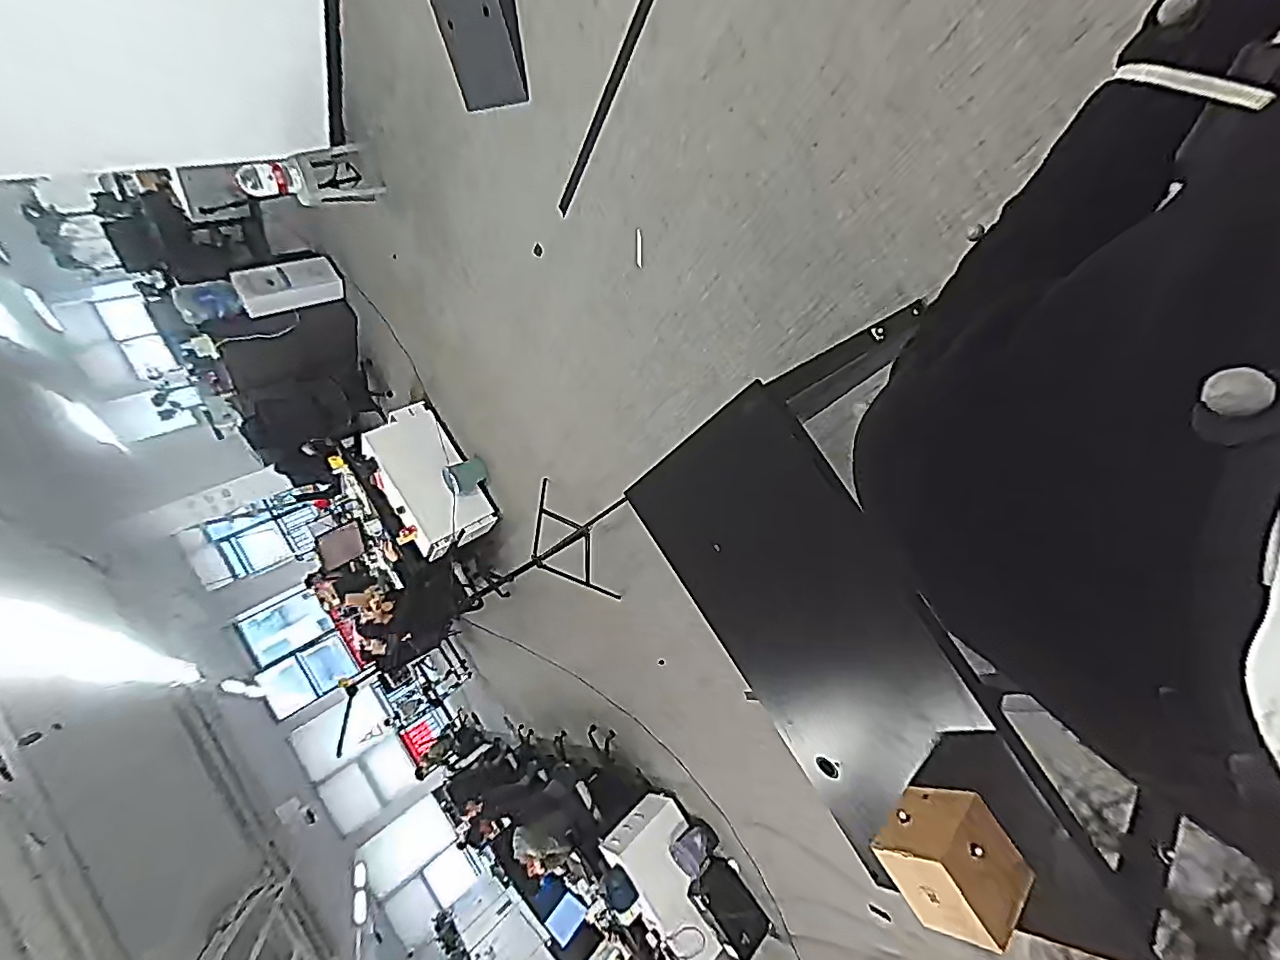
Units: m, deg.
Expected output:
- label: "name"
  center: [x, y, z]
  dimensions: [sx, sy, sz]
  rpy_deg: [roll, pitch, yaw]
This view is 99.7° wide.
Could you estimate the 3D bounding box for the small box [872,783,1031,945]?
- label: "small box"
  center: [0.593, 0.714, 1.033]
  dimensions: [0.179, 0.176, 0.168]
  rpy_deg: [55, 148, 7]
